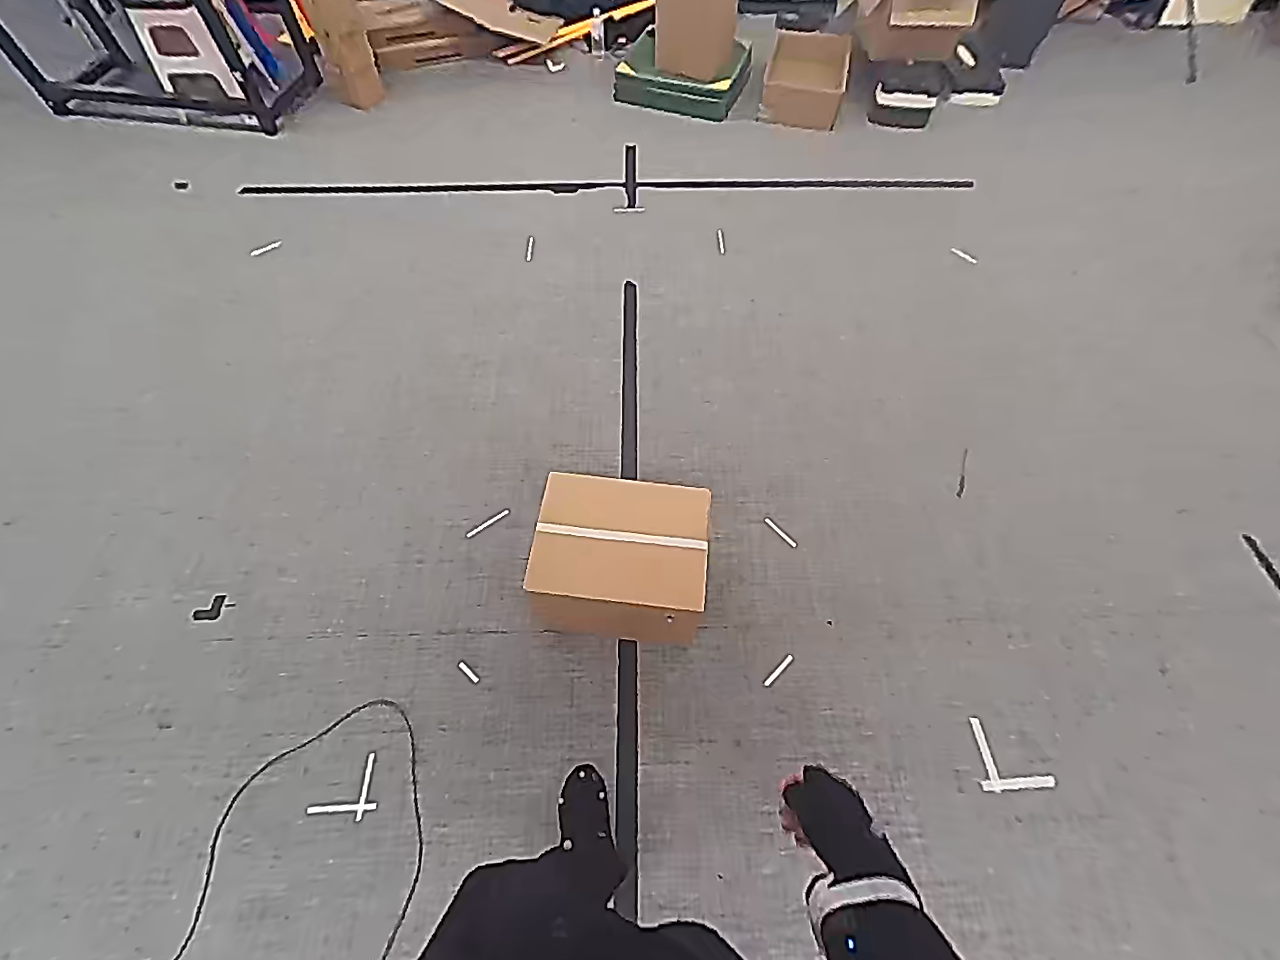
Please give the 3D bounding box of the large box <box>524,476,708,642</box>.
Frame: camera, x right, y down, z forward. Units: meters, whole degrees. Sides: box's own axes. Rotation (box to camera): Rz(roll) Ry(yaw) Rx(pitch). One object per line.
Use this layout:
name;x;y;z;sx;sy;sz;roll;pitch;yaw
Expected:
large box;-0.045;0.212;1.383;0.408;0.320;0.320;6;59;2
